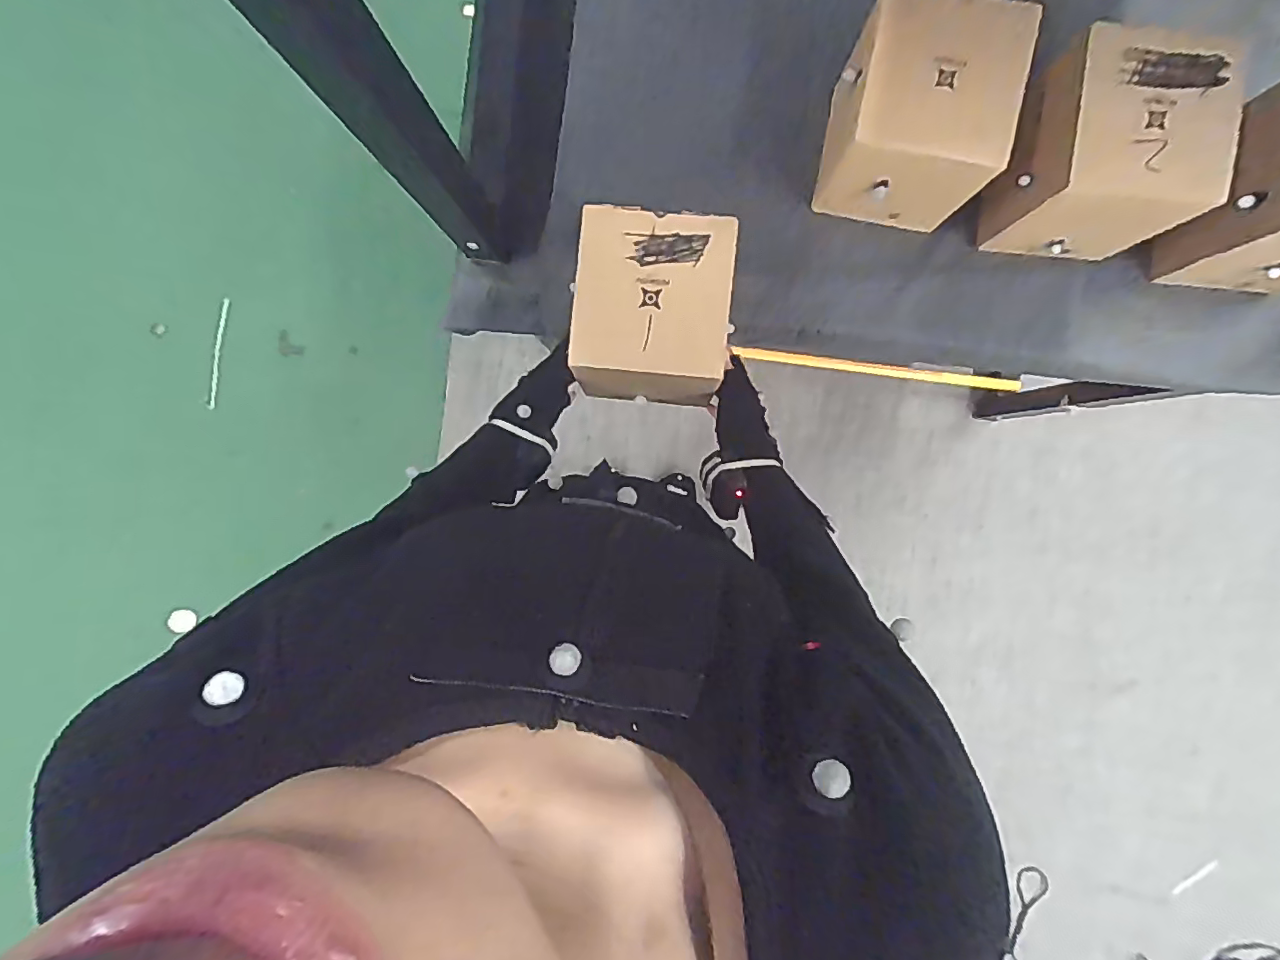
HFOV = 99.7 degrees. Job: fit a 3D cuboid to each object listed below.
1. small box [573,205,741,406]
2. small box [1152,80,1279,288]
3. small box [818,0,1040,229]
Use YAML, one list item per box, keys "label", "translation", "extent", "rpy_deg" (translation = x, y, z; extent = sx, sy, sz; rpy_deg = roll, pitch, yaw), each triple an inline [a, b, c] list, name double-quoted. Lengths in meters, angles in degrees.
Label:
- label: "small box"
  translation: [0.019, -0.196, 0.649]
  extent: [0.168, 0.176, 0.179]
  rpy_deg: [5, 88, 2]
- label: "small box"
  translation: [0.768, -0.342, 0.641]
  extent: [0.168, 0.176, 0.179]
  rpy_deg: [6, 91, 2]
- label: "small box"
  translation: [0.329, -0.434, 0.656]
  extent: [0.168, 0.176, 0.179]
  rpy_deg: [11, 92, 1]
